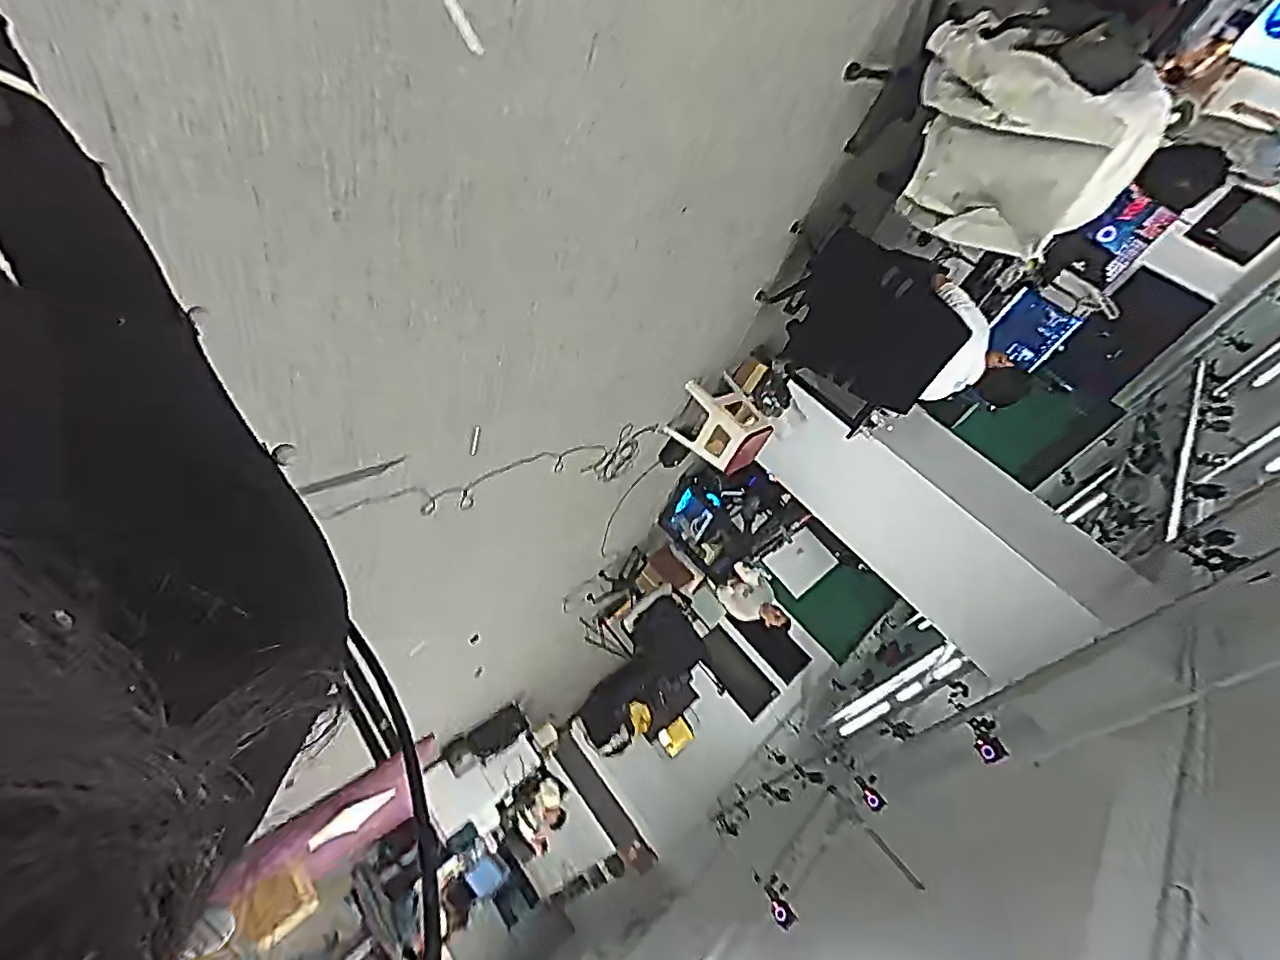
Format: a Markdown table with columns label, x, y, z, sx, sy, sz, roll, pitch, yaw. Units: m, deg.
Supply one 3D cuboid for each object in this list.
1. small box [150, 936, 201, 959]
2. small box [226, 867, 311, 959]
| label | x | y | z | sx | sy | sz | roll | pitch | yaw |
| --- | --- | --- | --- | --- | --- | --- | --- | --- | --- |
| small box | -1.440 | 1.537 | 1.630 | 0.179 | 0.176 | 0.168 | -12 | 143 | -53 |
| small box | -1.247 | 1.448 | 1.812 | 0.179 | 0.176 | 0.168 | -30 | 155 | -30 |
